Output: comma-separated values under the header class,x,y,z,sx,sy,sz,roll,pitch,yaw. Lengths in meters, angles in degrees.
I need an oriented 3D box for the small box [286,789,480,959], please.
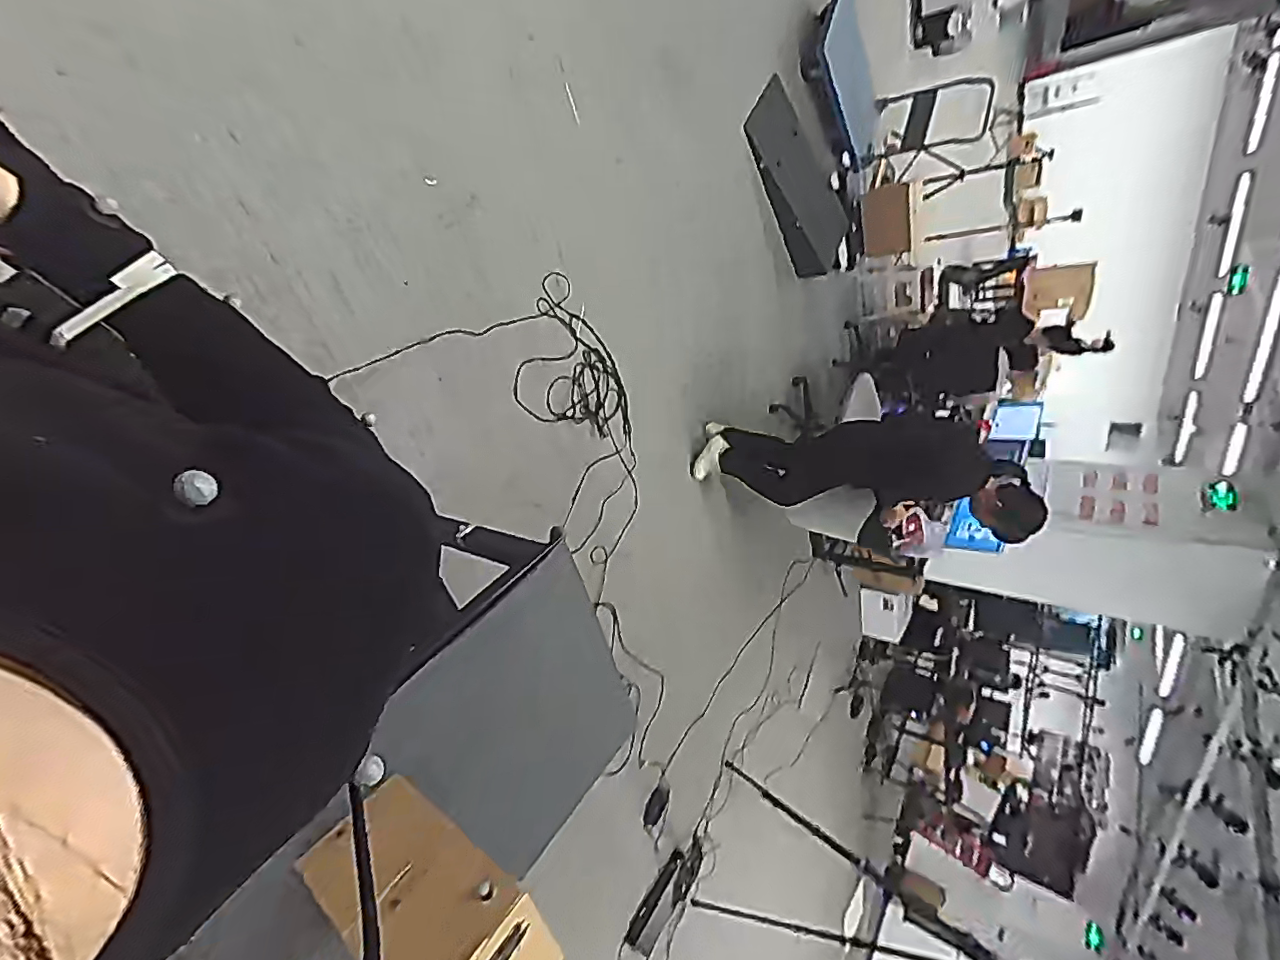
class,x,y,z,sx,sy,sz,roll,pitch,yaw
small box,-0.370,0.599,0.789,0.168,0.176,0.179,-37,124,-43
